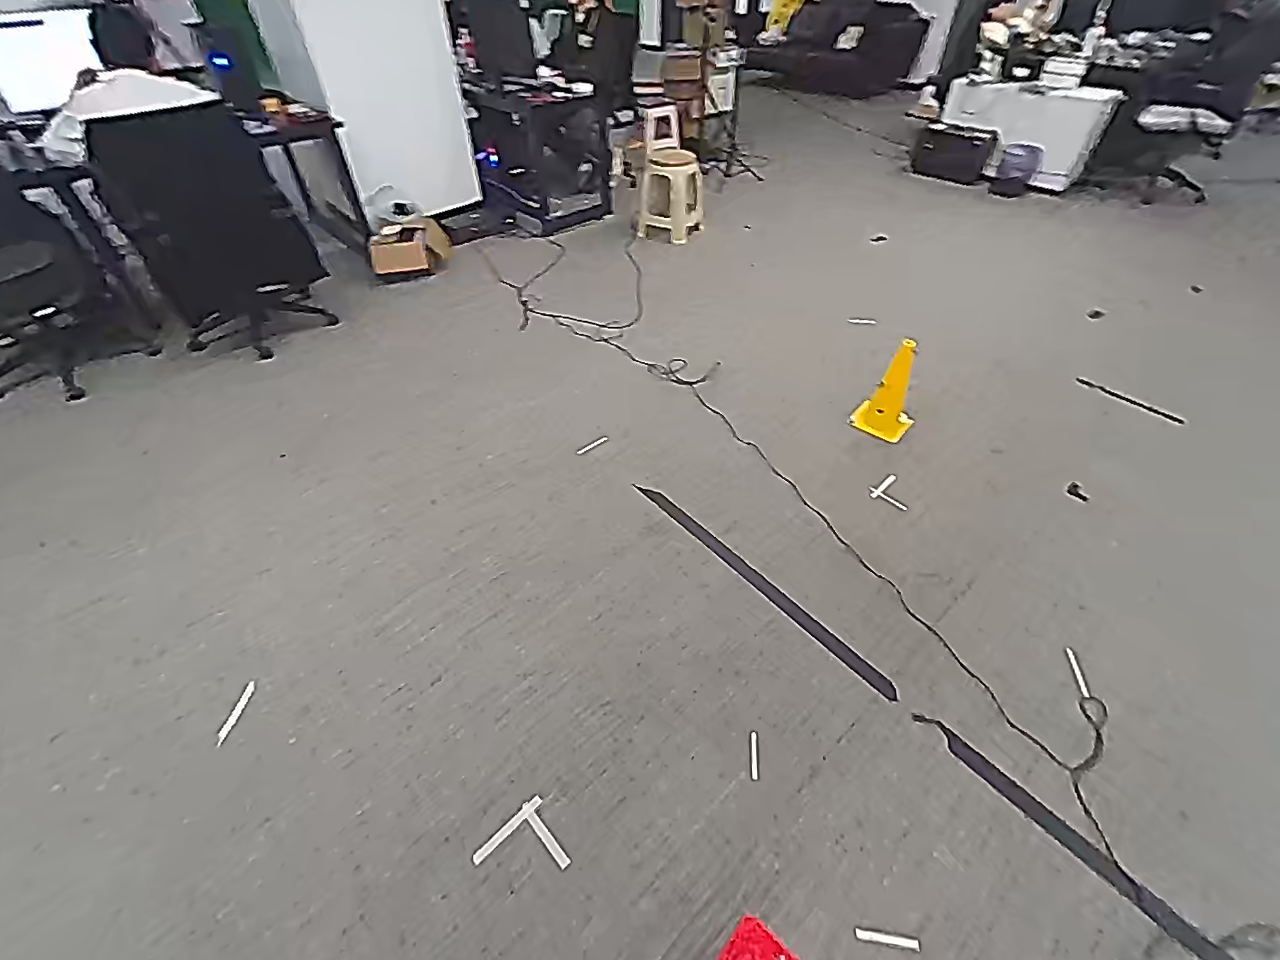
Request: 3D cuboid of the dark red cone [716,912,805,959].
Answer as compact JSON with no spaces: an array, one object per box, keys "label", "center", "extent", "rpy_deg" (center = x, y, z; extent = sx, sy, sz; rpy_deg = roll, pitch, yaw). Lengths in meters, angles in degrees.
[{"label":"dark red cone","center":[0.218,0.809,0.841],"extent":[0.202,0.394,0.201],"rpy_deg":[31,52,29]}]
